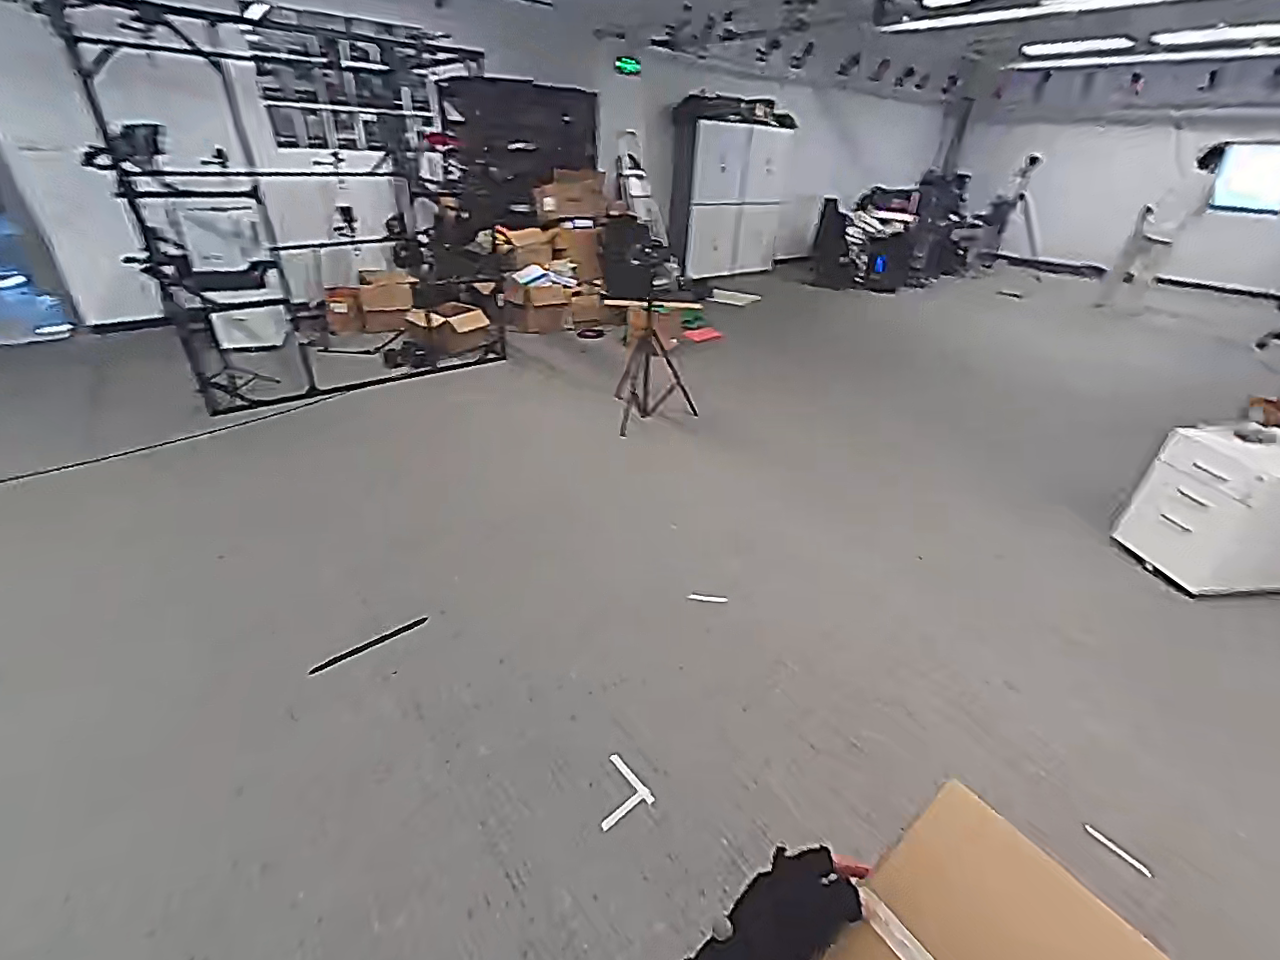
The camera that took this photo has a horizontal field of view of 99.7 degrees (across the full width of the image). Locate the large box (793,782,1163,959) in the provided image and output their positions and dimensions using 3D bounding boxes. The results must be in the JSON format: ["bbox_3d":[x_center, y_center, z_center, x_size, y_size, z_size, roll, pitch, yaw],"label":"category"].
[{"bbox_3d":[0.319,0.575,0.458,0.320,0.320,0.408,-29,47,-27],"label":"large box"}]
